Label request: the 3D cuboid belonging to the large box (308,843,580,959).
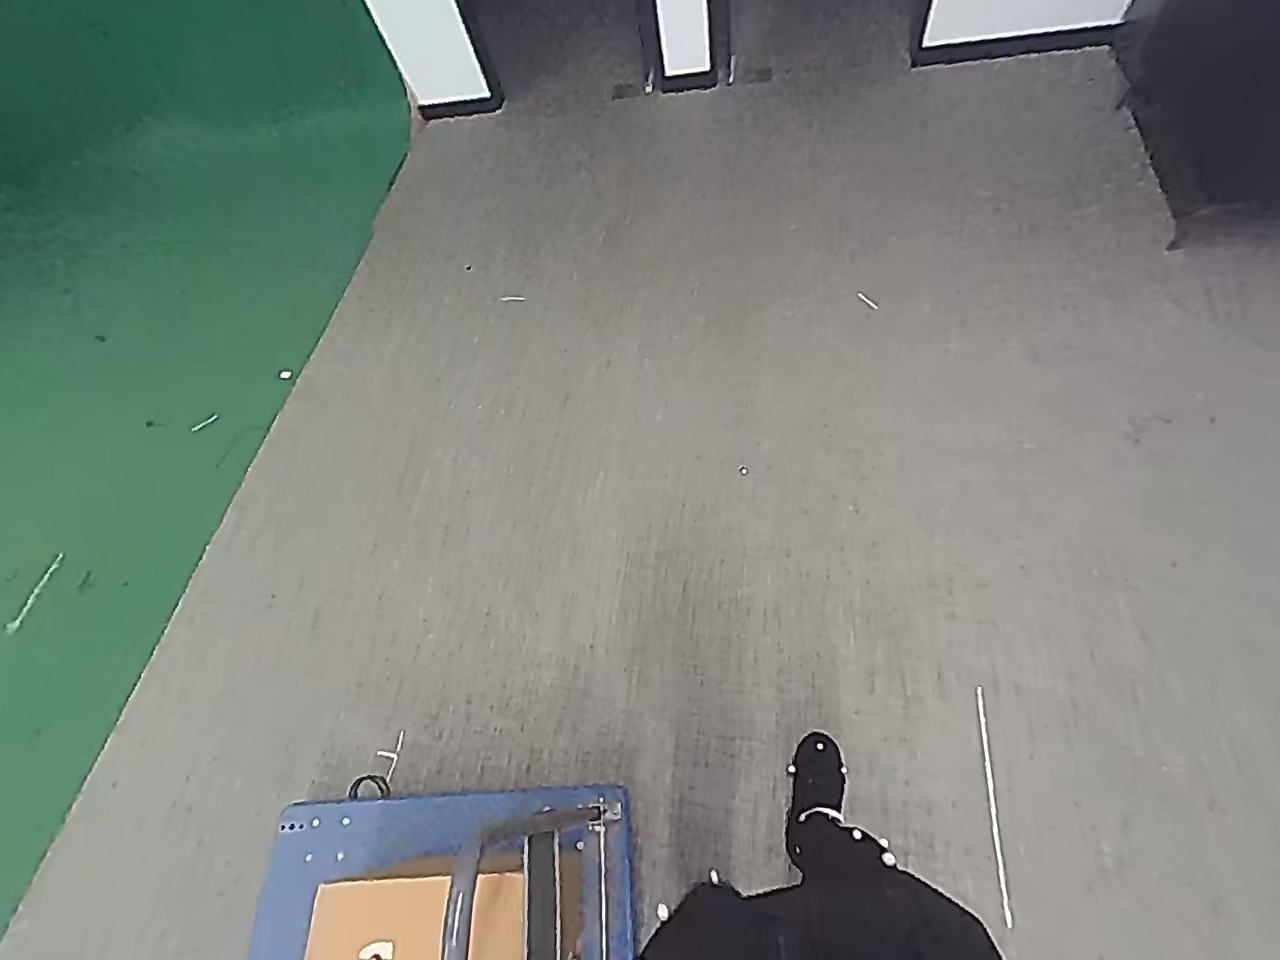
[{"bbox_3d":[-0.343,0.896,1.011,0.408,0.320,0.320,-8,61,8],"label":"large box"}]
